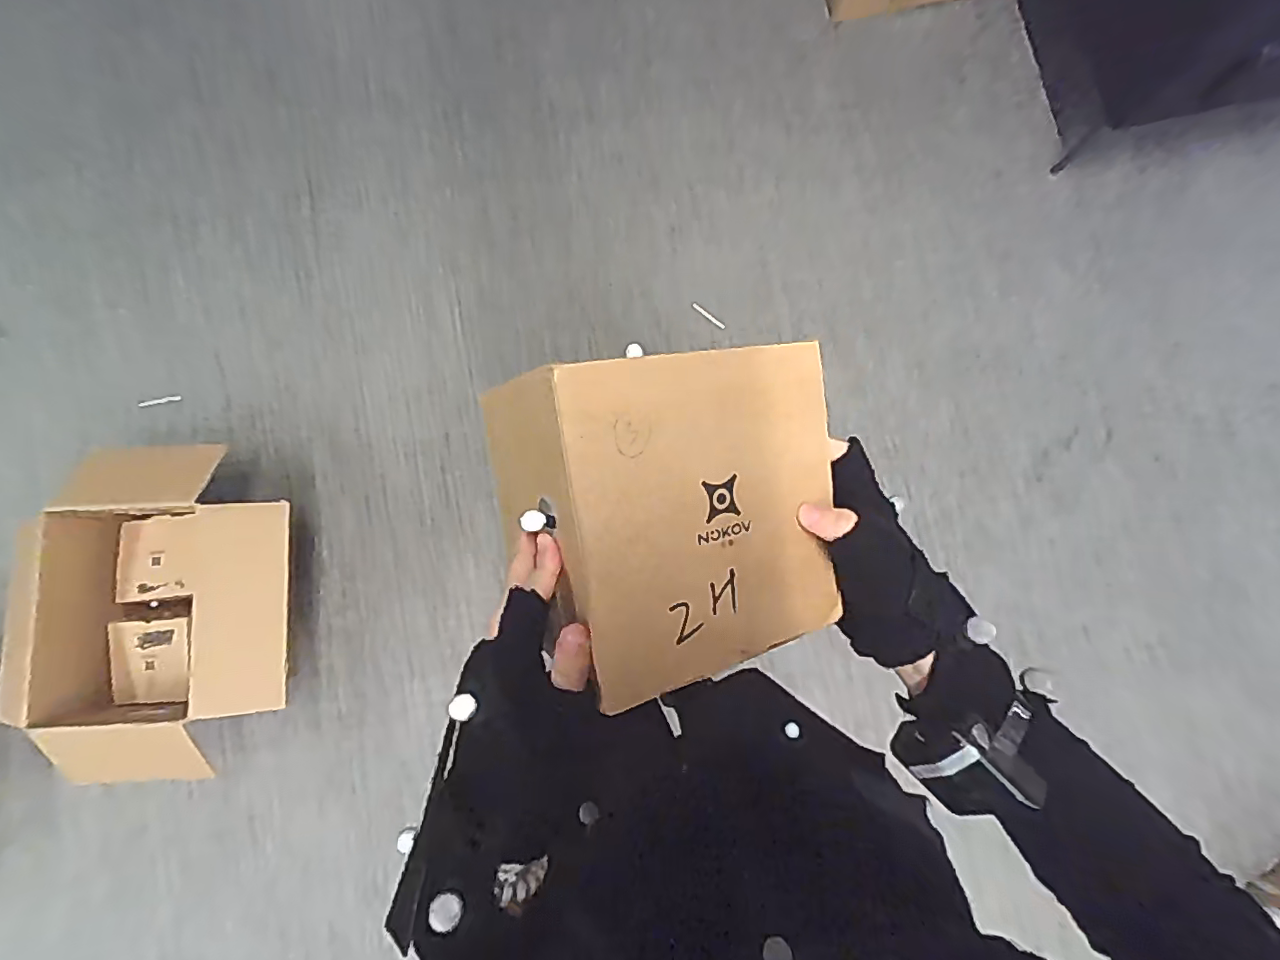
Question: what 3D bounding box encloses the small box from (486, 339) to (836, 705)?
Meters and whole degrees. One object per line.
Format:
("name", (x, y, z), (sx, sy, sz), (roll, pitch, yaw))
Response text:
("small box", (0.004, 0.010, 0.362), (0.168, 0.176, 0.179), (-11, 99, -27))
